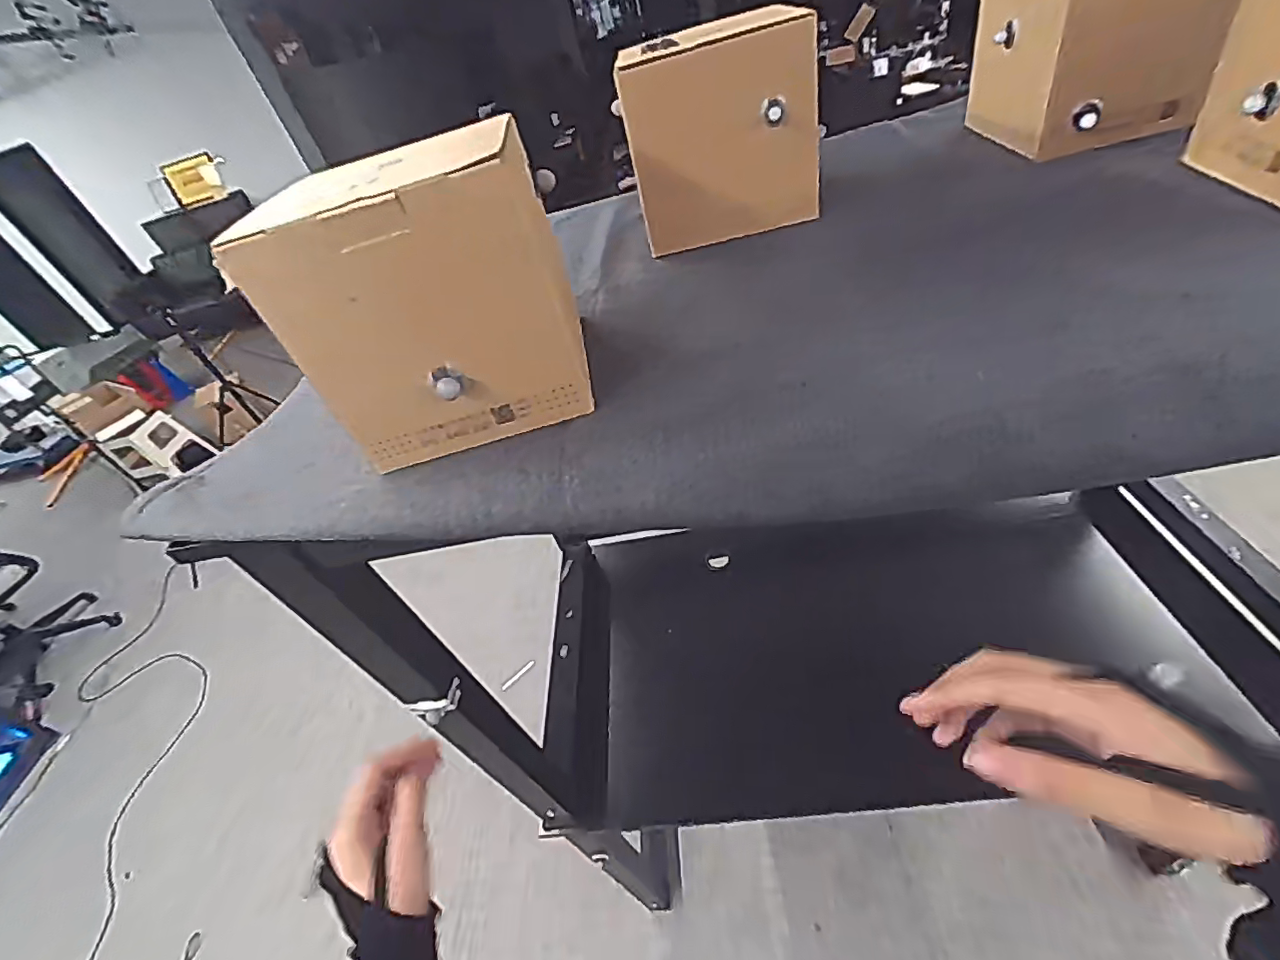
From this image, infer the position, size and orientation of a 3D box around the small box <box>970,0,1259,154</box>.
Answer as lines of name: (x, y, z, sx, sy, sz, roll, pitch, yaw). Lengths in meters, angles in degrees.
small box: (0.441, -0.431, 0.511, 0.168, 0.176, 0.179, -9, 41, 11)

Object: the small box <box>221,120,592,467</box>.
small box: (-0.141, -0.139, 0.402, 0.168, 0.176, 0.179, -16, 41, 3)

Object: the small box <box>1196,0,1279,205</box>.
small box: (0.500, -0.275, 0.313, 0.179, 0.176, 0.168, -4, 41, 17)
